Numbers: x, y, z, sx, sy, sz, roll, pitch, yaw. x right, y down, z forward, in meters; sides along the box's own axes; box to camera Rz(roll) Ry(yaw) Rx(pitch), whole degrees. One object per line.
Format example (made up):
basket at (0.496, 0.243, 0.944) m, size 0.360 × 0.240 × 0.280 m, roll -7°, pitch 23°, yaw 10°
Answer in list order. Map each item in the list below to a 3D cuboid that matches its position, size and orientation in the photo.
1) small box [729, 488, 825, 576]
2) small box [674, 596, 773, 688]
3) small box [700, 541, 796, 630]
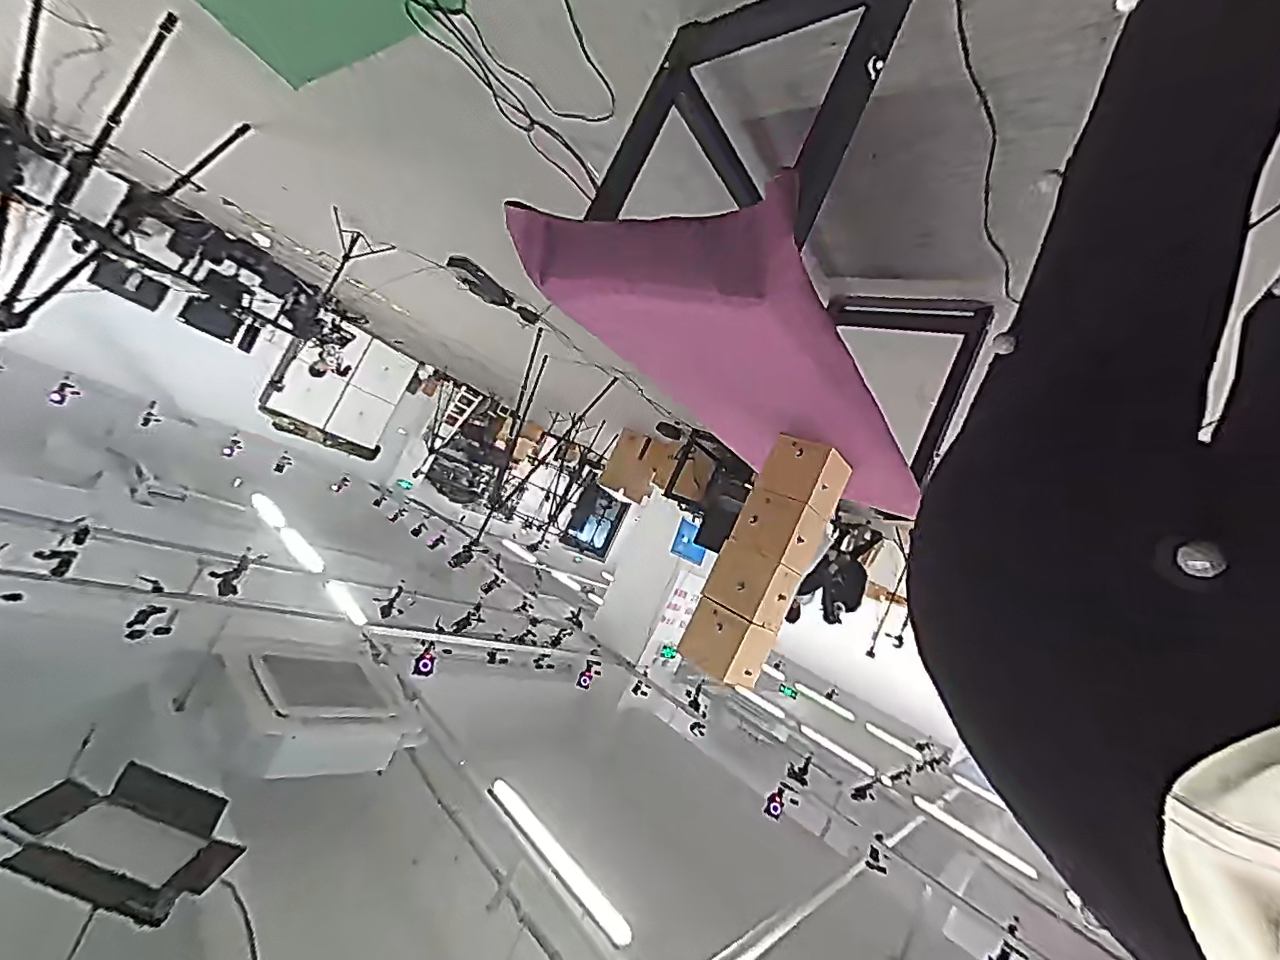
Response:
small box at (0.376, 0.138, 1.470) m, size 0.168 × 0.176 × 0.179 m, roll 22°, pitch 174°, yaw 42°
small box at (0.229, 0.430, 1.443) m, size 0.168 × 0.176 × 0.179 m, roll 22°, pitch 173°, yaw 43°
small box at (0.300, 0.282, 1.460) m, size 0.179 × 0.176 × 0.168 m, roll 21°, pitch 173°, yaw 43°
